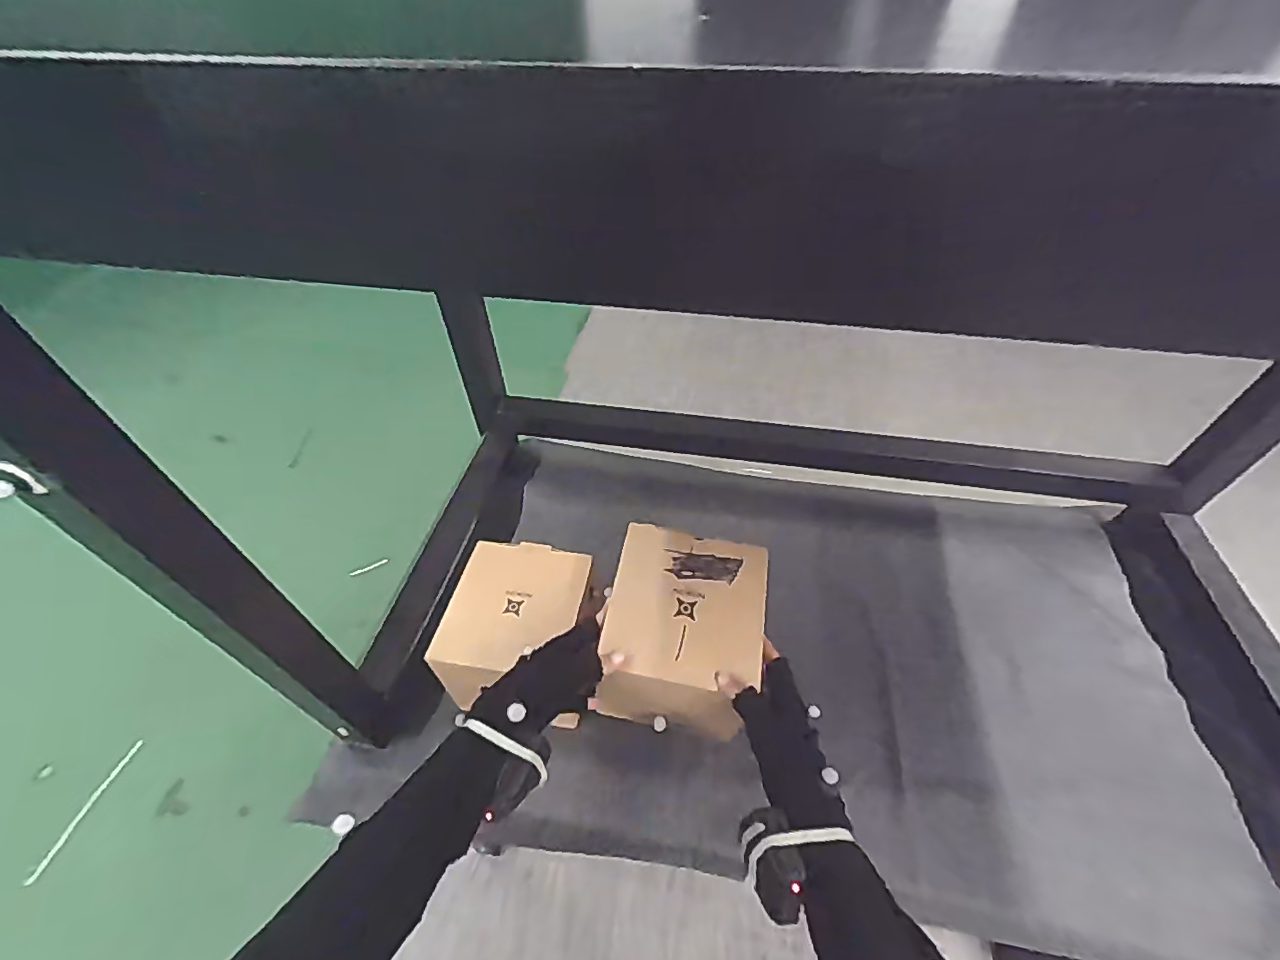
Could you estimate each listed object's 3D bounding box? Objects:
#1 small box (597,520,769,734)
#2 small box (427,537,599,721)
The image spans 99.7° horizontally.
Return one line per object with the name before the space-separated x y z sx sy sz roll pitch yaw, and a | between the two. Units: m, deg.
small box | 0.049 0.176 0.639 0.168 0.176 0.179 10 53 6
small box | -0.153 0.203 0.730 0.168 0.176 0.179 7 47 7
